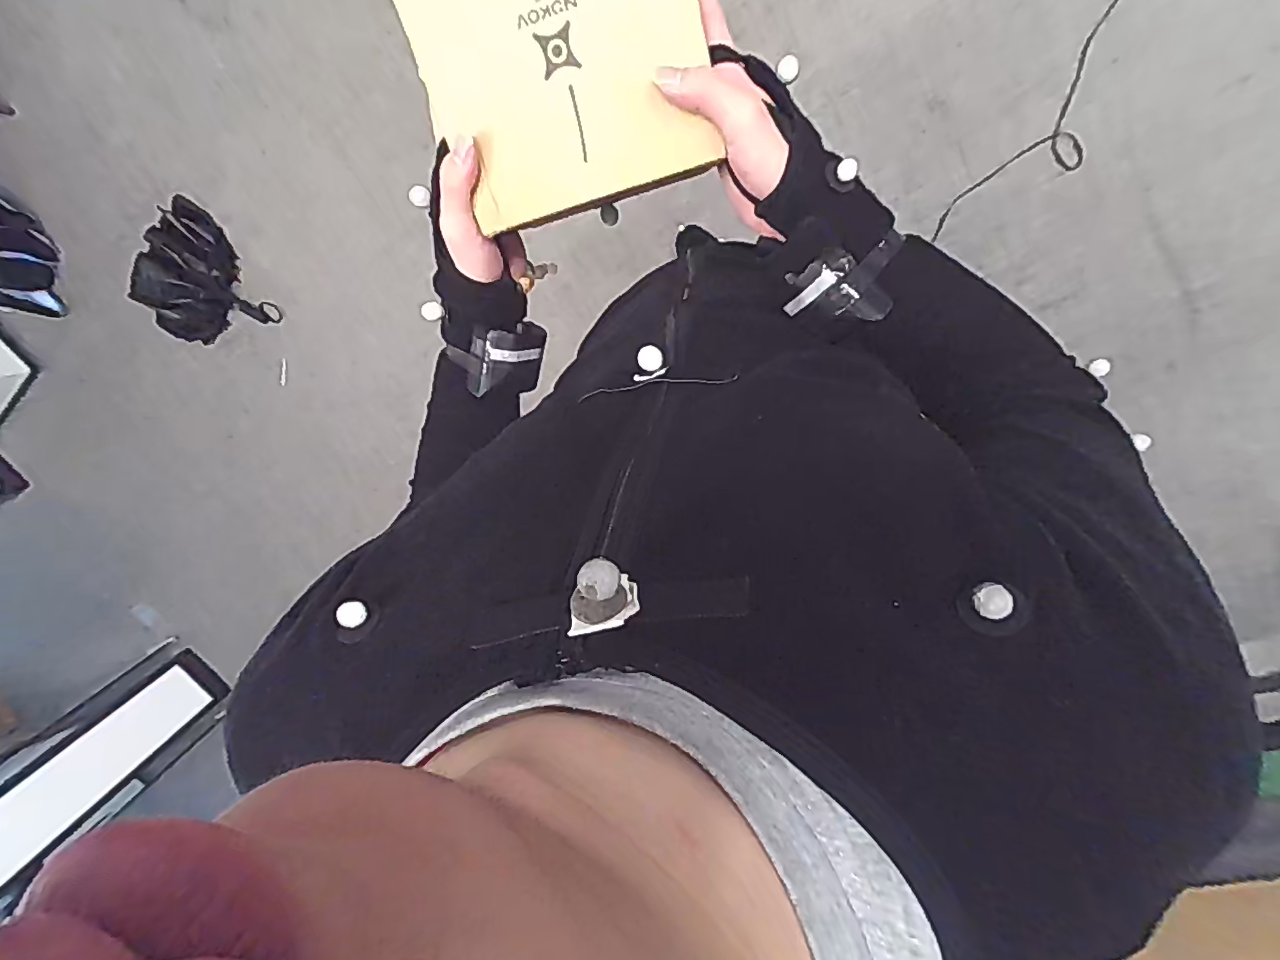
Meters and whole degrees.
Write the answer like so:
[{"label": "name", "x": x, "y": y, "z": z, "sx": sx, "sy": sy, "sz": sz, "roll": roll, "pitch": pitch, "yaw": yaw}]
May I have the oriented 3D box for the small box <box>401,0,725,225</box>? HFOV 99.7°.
[{"label": "small box", "x": -0.046, "y": -0.293, "z": 0.379, "sx": 0.168, "sy": 0.176, "sz": 0.179, "roll": -14, "pitch": 116, "yaw": 8}]
